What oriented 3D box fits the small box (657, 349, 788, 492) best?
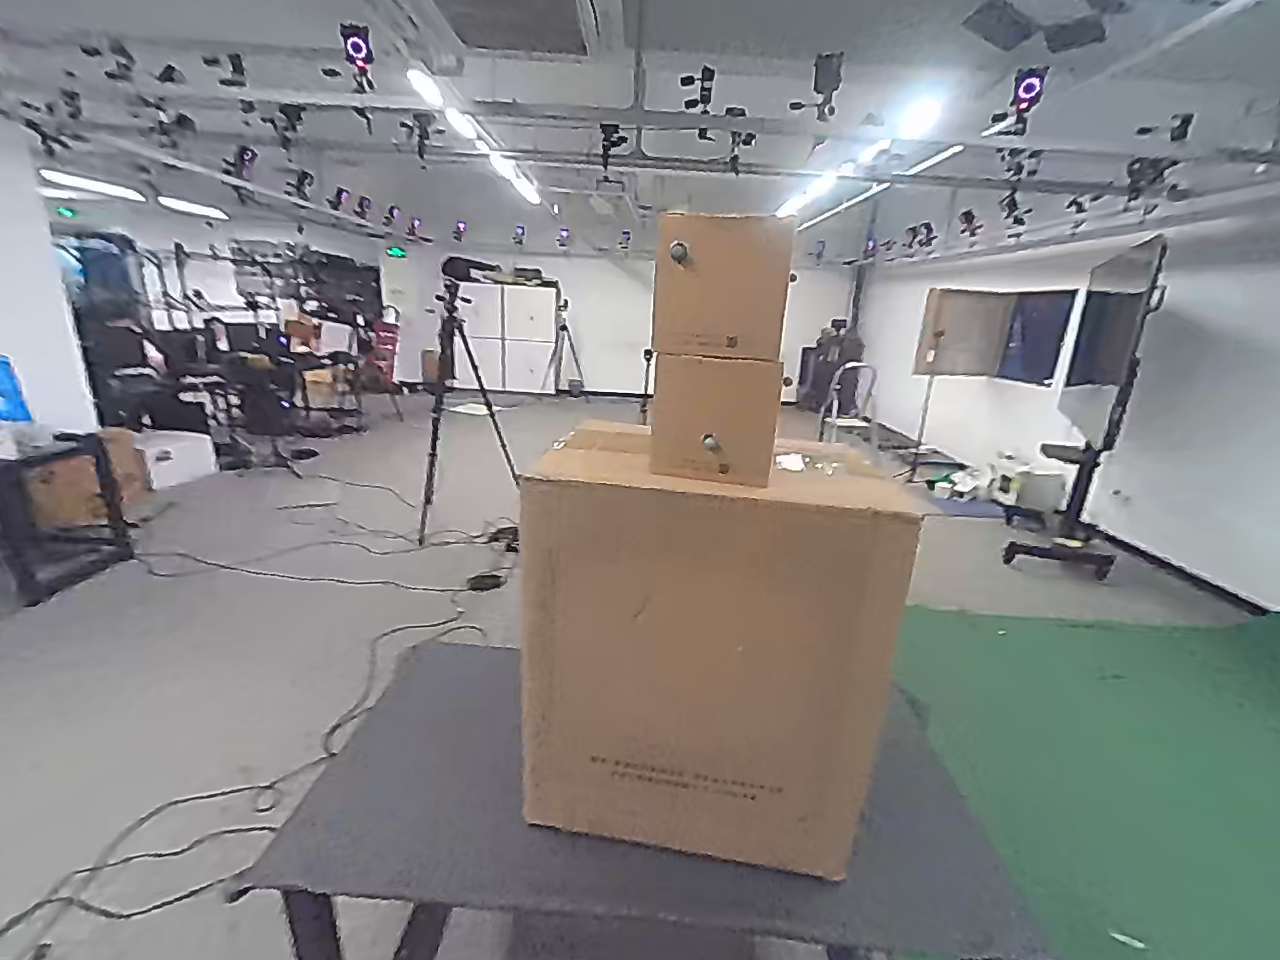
[{"bbox_3d":[0.123,-0.095,0.805,0.168,0.176,0.179,8,20,11],"label":"small box"}]
